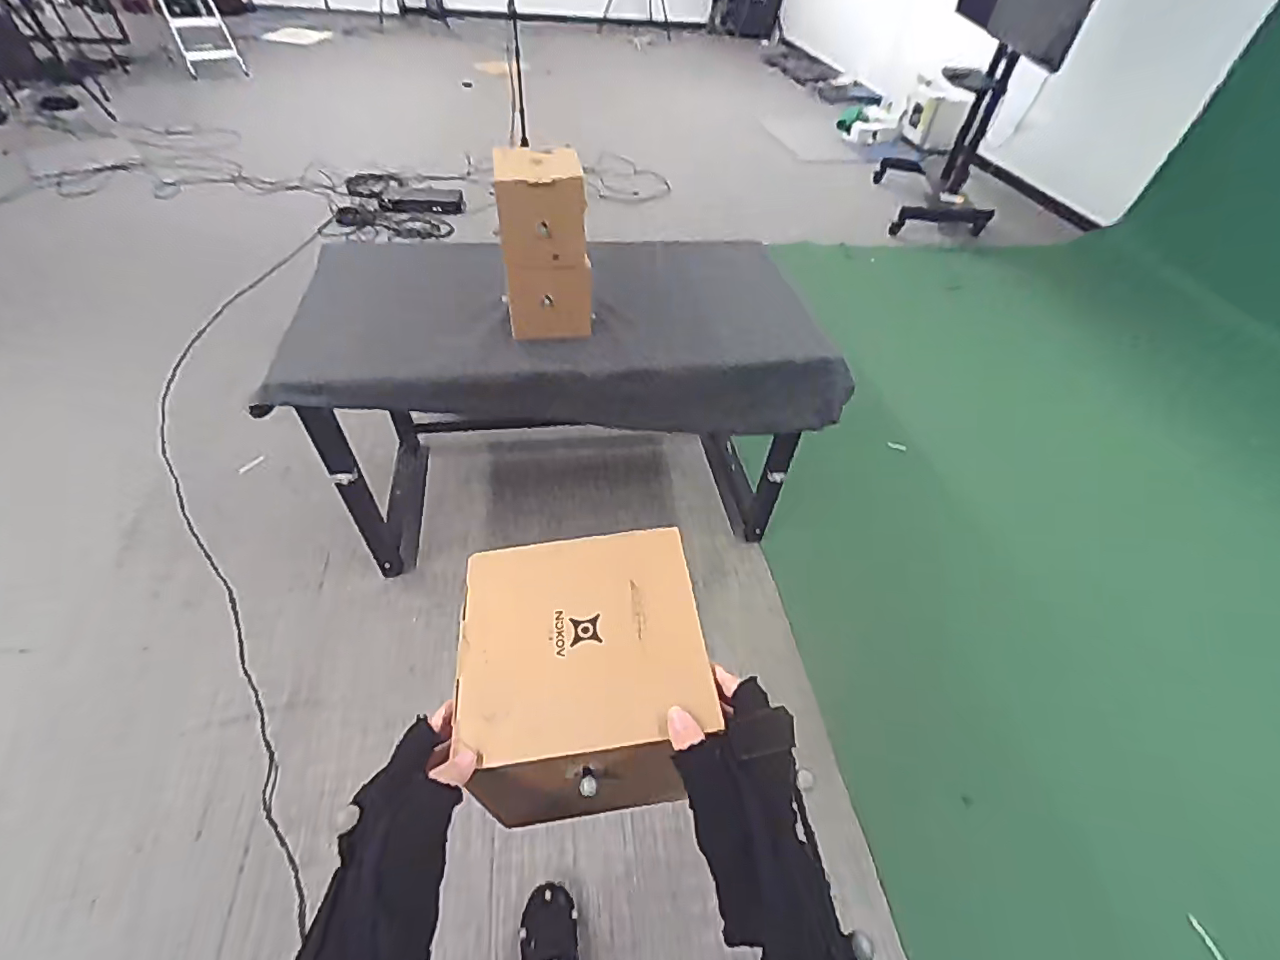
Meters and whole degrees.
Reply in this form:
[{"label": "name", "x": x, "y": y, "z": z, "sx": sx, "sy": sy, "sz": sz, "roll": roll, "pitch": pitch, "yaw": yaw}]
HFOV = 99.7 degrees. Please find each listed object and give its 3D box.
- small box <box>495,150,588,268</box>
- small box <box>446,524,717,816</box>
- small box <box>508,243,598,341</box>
[{"label": "small box", "x": -0.196, "y": -0.541, "z": 1.084, "sx": 0.168, "sy": 0.176, "sz": 0.179, "roll": -5, "pitch": 48, "yaw": -10}, {"label": "small box", "x": -0.044, "y": 0.160, "z": 0.450, "sx": 0.179, "sy": 0.176, "sz": 0.168, "roll": -7, "pitch": 48, "yaw": -5}, {"label": "small box", "x": -0.197, "y": -0.426, "z": 1.201, "sx": 0.179, "sy": 0.176, "sz": 0.168, "roll": -7, "pitch": 49, "yaw": -13}]
